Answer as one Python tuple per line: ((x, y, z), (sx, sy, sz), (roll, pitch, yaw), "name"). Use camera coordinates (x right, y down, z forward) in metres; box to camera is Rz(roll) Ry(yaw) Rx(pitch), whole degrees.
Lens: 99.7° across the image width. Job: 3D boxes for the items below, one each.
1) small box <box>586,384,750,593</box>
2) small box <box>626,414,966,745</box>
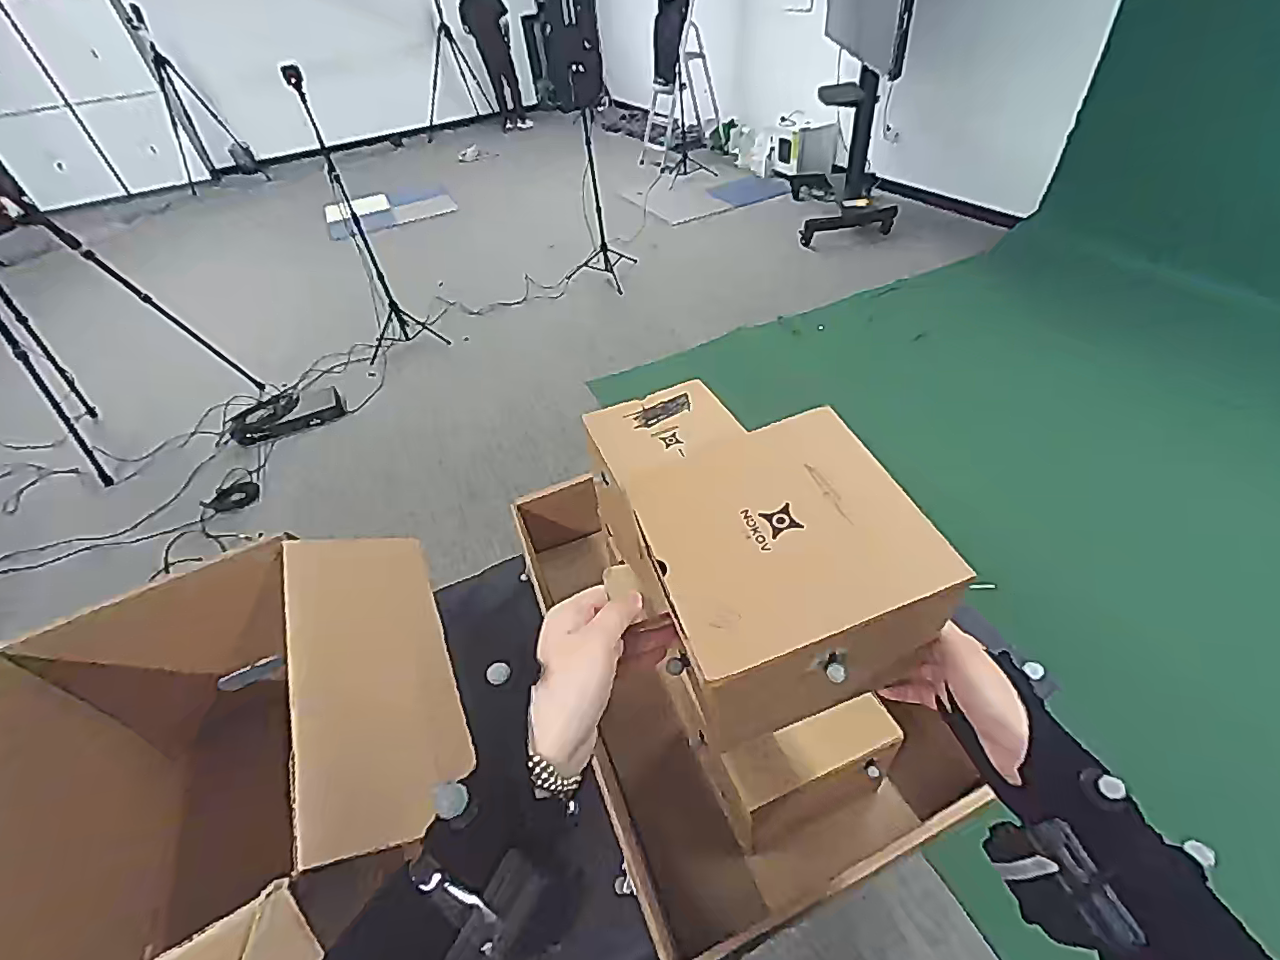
((0.042, 0.010, 0.688), (0.168, 0.176, 0.179), (-20, 47, -12), "small box")
((0.107, 0.084, 0.429), (0.179, 0.176, 0.168), (-20, 51, -5), "small box")
